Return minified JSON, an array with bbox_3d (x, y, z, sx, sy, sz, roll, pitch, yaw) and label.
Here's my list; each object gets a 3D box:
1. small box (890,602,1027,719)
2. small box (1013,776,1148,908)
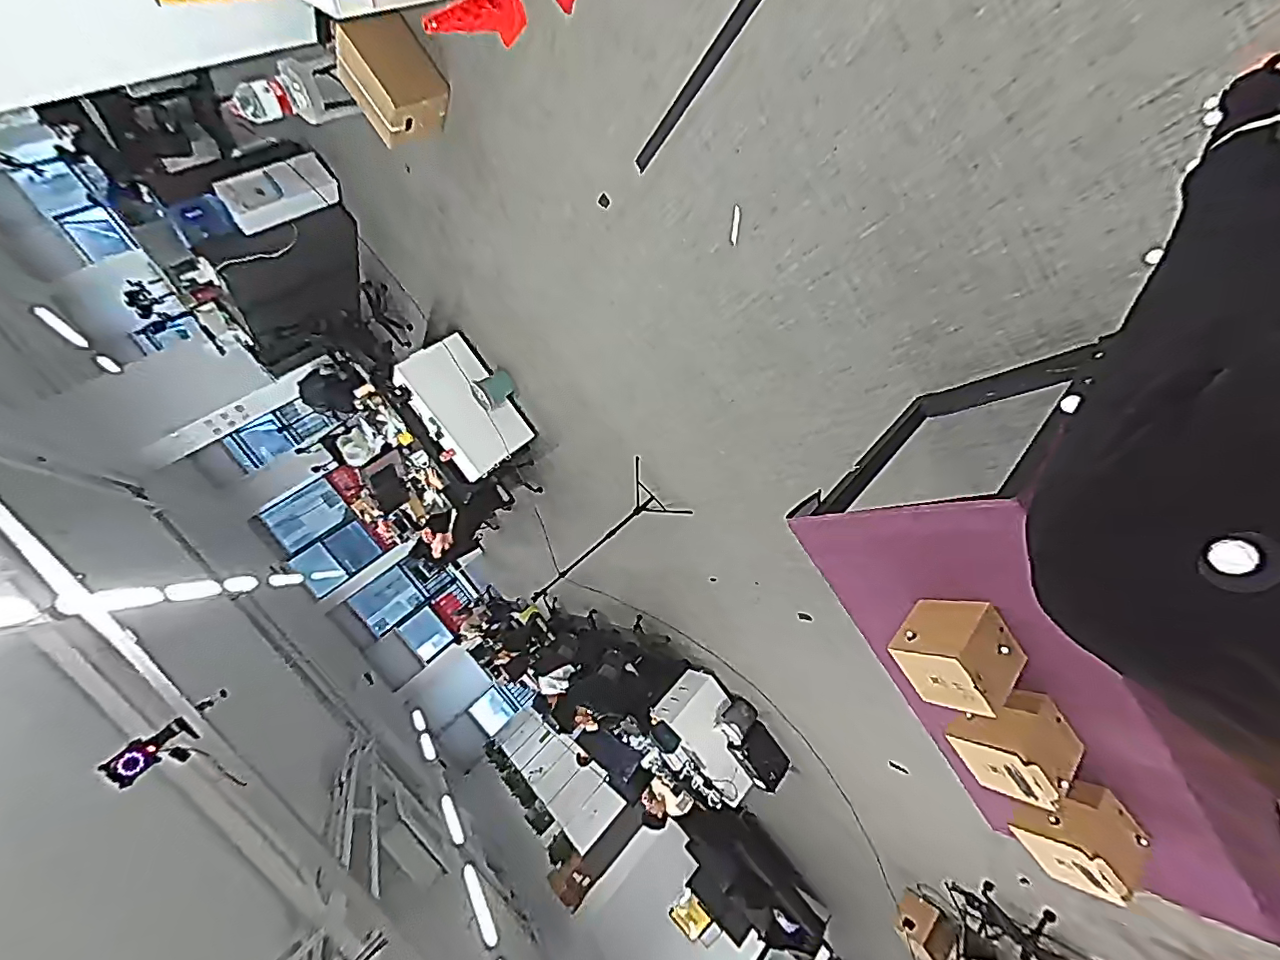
[{"bbox_3d":[0.705,0.388,1.199,0.168,0.176,0.179,53,154,-8],"label":"small box"},{"bbox_3d":[1.036,0.833,1.267,0.168,0.176,0.179,51,155,0],"label":"small box"}]
